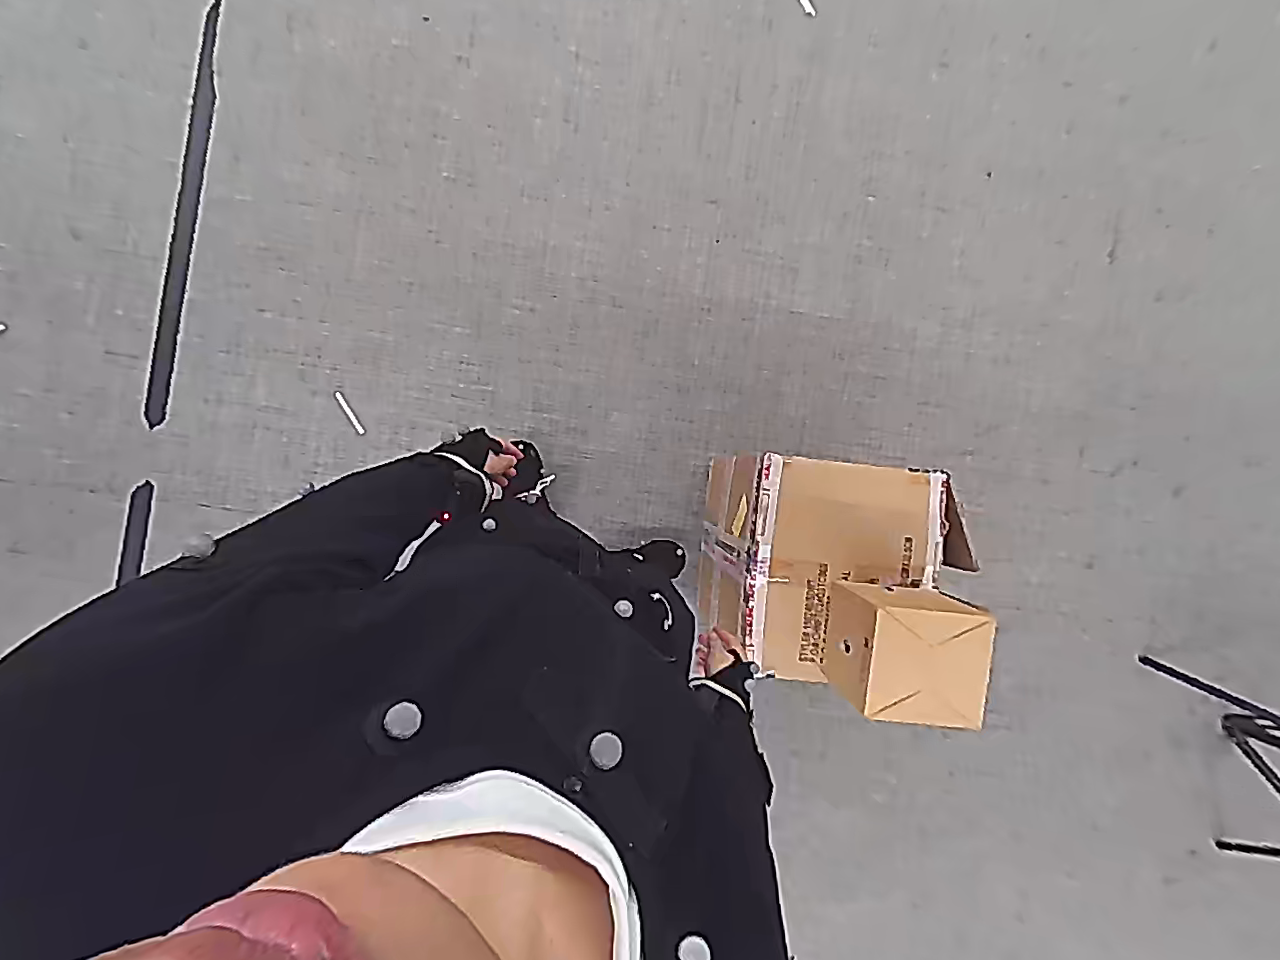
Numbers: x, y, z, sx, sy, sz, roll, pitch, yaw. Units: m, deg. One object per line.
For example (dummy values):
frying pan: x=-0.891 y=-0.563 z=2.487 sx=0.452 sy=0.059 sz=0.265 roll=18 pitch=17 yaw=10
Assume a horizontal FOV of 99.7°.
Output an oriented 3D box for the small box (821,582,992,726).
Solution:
small box: x=0.407 y=0.264 z=0.850 sx=0.179 sy=0.176 sz=0.168 roll=6 pitch=92 yaw=-2
